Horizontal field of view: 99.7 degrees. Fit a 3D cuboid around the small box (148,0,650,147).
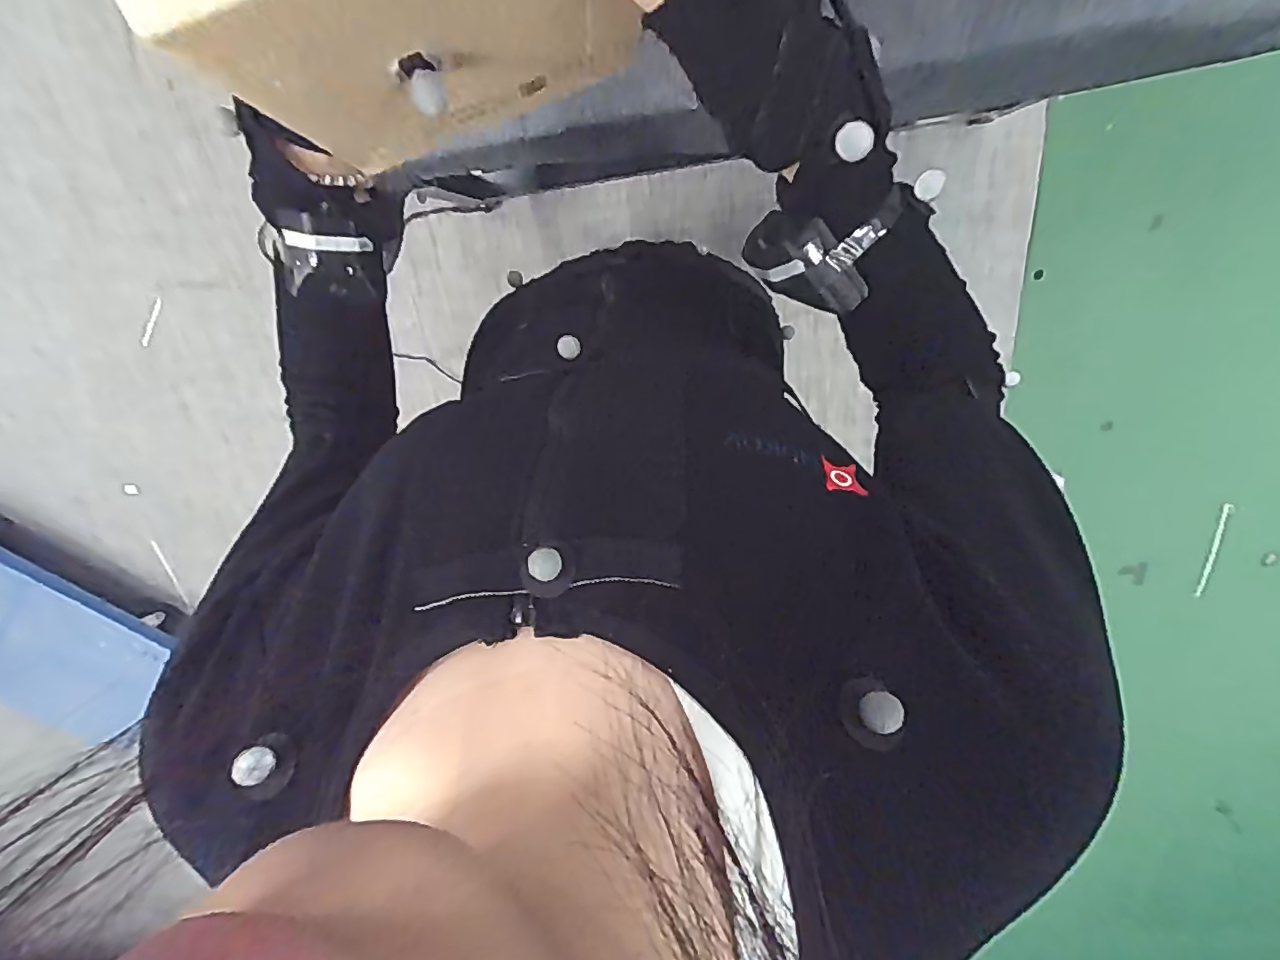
[{"bbox_3d":[-0.094,-0.254,0.200,0.168,0.176,0.179,-21,106,1],"label":"small box"}]
